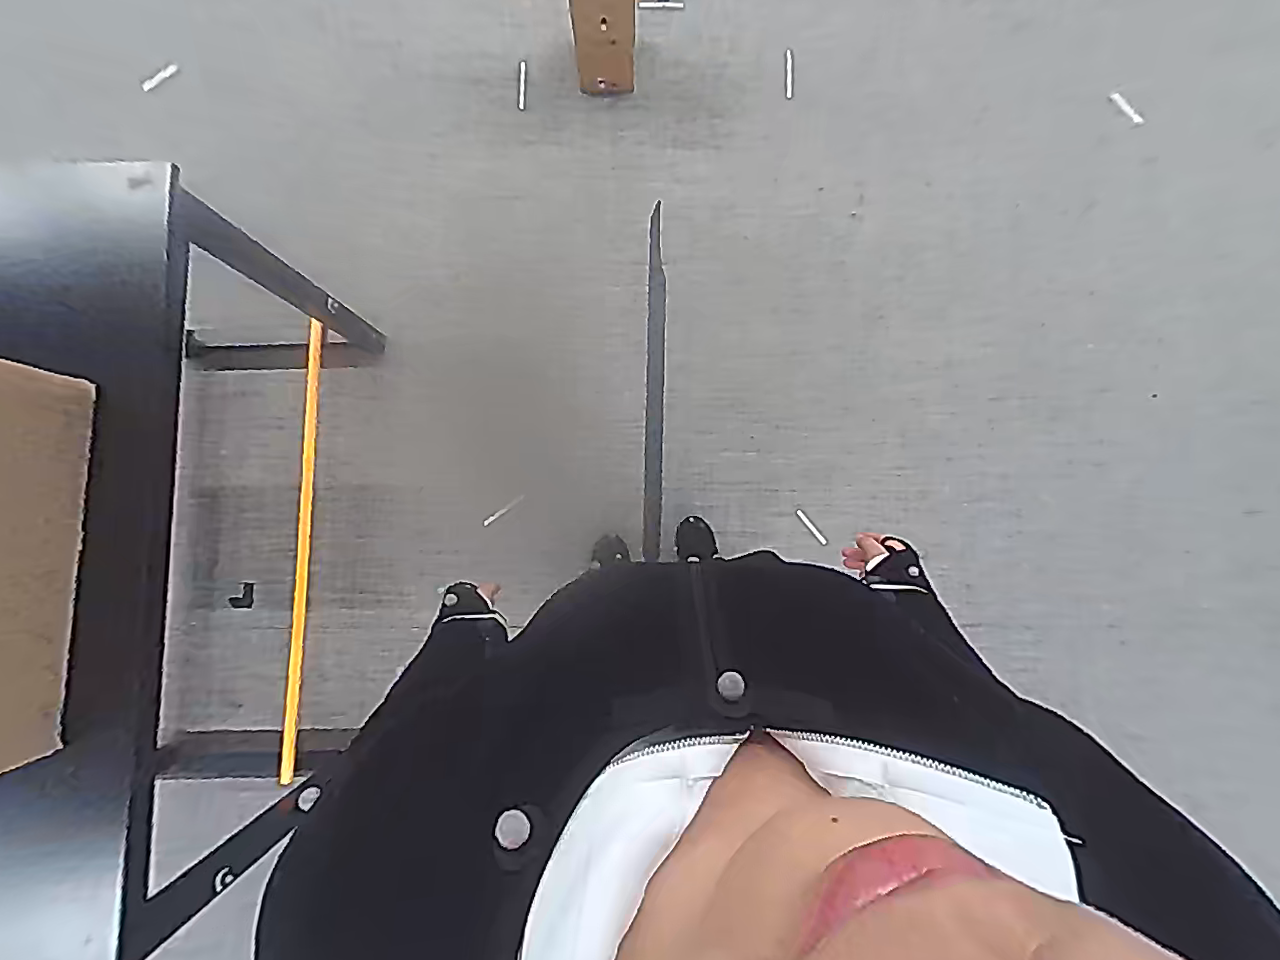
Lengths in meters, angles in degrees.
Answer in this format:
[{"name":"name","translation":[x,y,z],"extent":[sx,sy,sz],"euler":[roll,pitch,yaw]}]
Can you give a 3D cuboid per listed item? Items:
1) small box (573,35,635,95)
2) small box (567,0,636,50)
[{"name":"small box","translation":[-0.100,-1.244,1.543],"extent":[0.168,0.176,0.179],"euler":[-2,86,1]},{"name":"small box","translation":[-0.096,-1.242,1.378],"extent":[0.168,0.176,0.179],"euler":[-1,86,1]}]
